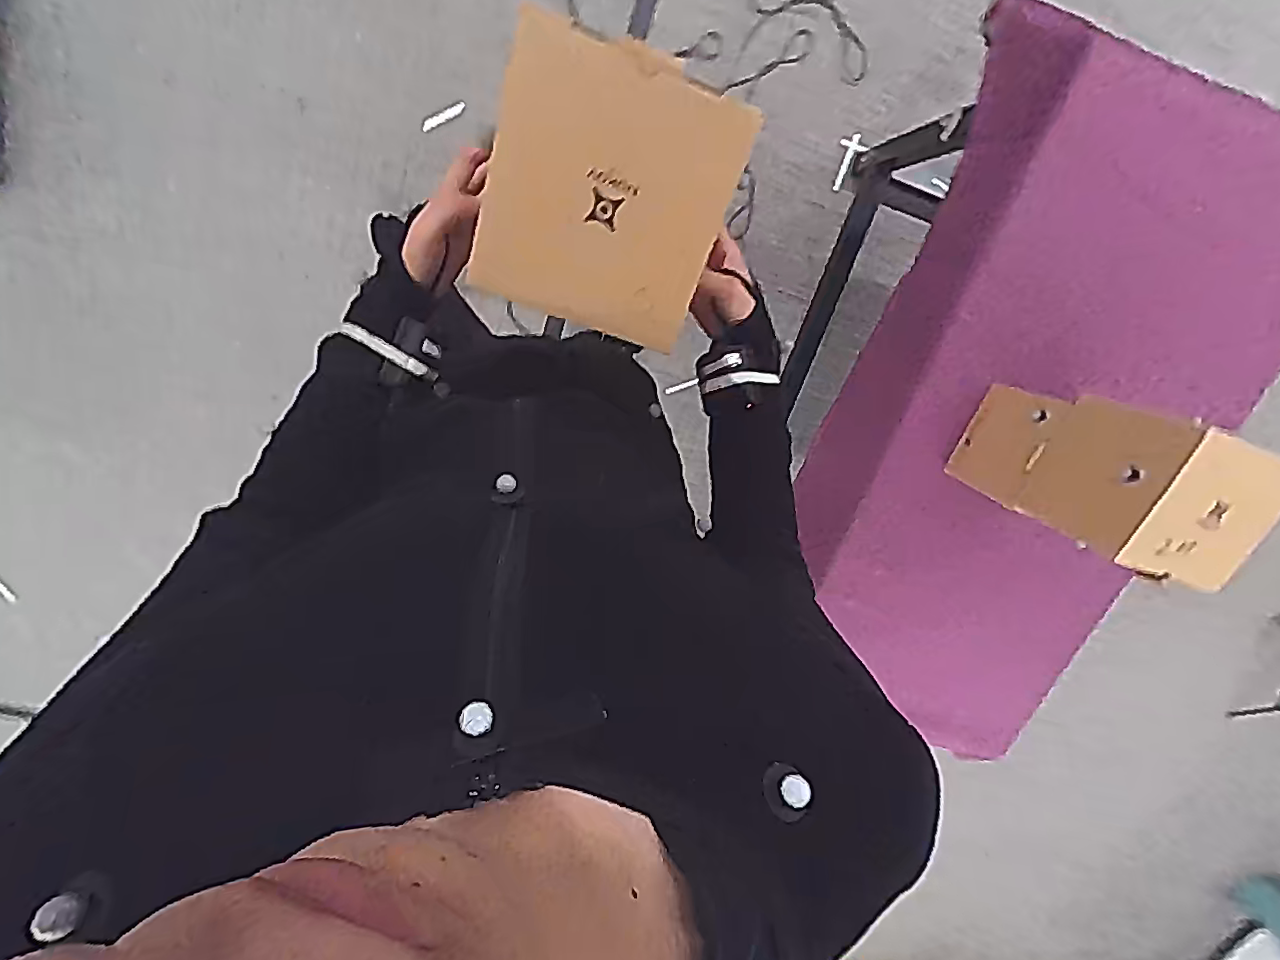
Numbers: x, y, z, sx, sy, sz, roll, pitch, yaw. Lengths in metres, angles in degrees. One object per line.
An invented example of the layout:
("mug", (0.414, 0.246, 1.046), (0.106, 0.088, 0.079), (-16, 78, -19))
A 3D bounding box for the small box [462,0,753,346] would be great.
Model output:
("small box", (-0.032, -0.238, 0.447), (0.168, 0.176, 0.179), (15, 116, -13))

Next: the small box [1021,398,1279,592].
("small box", (0.652, 0.010, 0.700), (0.168, 0.176, 0.179), (18, 109, -11))
